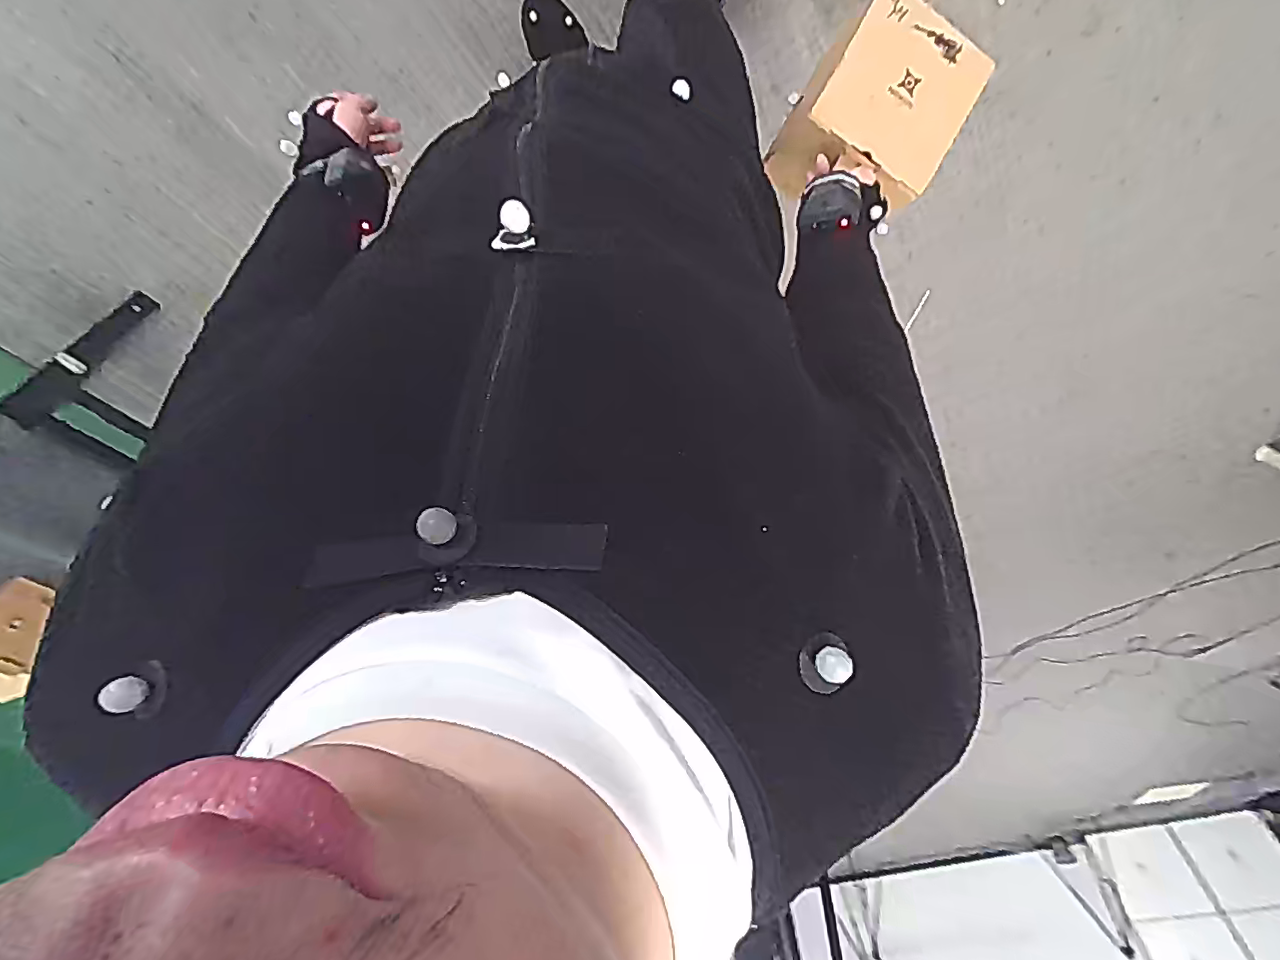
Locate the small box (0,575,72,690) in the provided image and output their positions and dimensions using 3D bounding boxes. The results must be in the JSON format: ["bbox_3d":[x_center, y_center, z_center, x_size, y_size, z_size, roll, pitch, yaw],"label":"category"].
[{"bbox_3d":[-1.313,0.310,1.077,0.179,0.176,0.168,-19,132,14],"label":"small box"}]

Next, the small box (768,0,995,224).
[{"bbox_3d":[0.285,-0.462,0.687,0.168,0.176,0.179,30,94,-12],"label":"small box"}]
